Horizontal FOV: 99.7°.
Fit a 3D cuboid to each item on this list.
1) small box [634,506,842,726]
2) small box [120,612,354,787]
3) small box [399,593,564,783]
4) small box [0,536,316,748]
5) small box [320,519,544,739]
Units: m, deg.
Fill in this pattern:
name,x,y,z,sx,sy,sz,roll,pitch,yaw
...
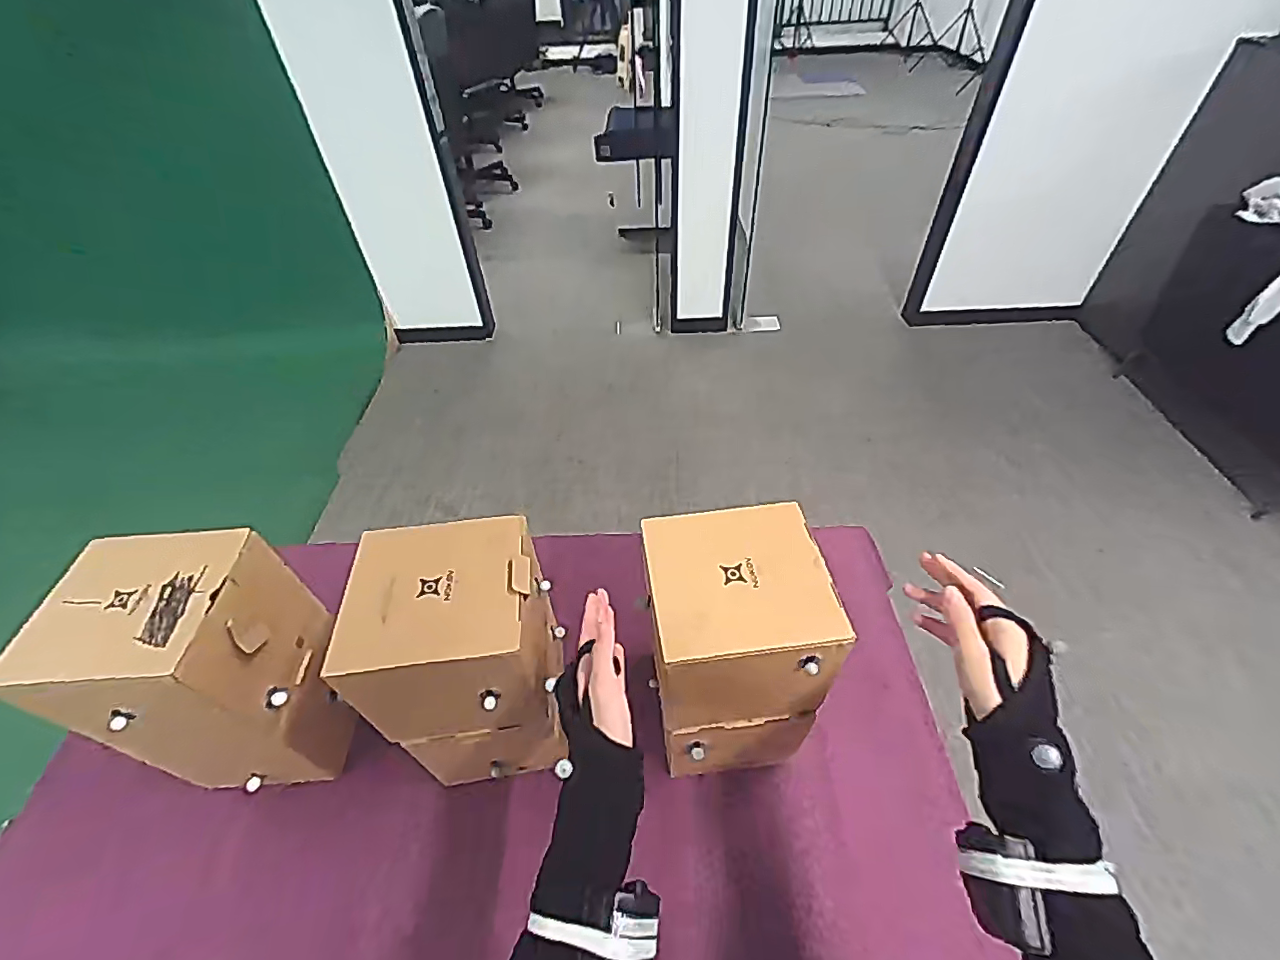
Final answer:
name,x,y,z,sx,sy,sz,roll,pitch,yaw
small box,0.092,0.151,0.591,0.179,0.176,0.168,-6,47,-3
small box,-0.493,0.291,0.712,0.179,0.176,0.168,-3,47,0
small box,-0.195,0.274,0.714,0.168,0.176,0.179,-8,48,-3
small box,-0.498,0.179,0.592,0.179,0.176,0.168,-4,47,0
small box,-0.203,0.165,0.593,0.179,0.176,0.168,-7,47,-2
